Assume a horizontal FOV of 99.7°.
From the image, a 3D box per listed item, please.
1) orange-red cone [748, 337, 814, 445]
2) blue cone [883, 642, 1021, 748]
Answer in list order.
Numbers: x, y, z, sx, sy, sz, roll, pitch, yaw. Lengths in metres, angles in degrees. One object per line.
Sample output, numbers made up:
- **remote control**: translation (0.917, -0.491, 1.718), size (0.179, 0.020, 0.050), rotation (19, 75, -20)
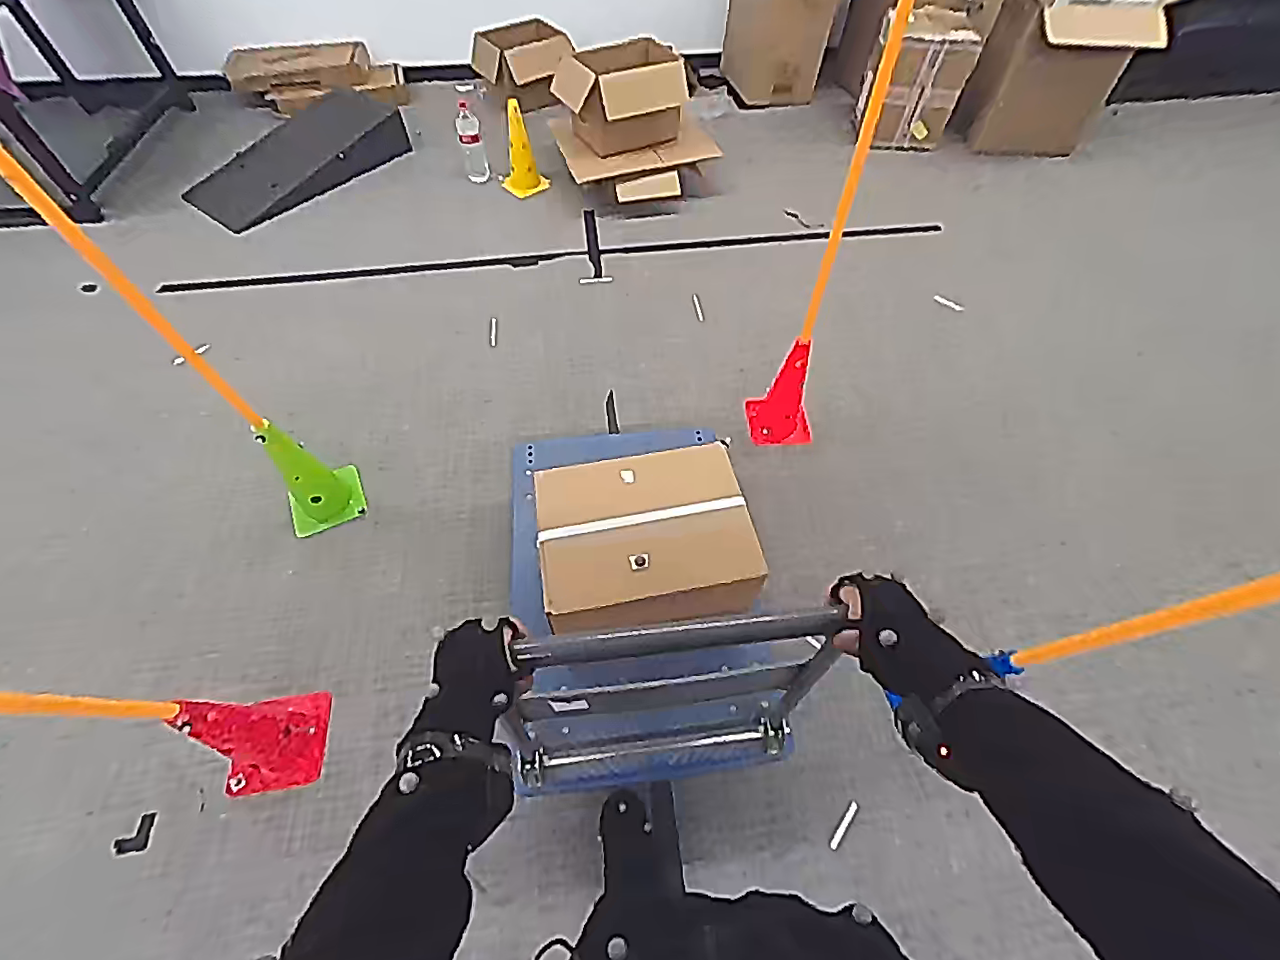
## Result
- **orange-red cone**: translation (0.469, -0.291, 1.660), size (0.199, 0.360, 0.198), rotation (0, 56, -2)
- **blue cone**: translation (0.713, 0.443, 1.180), size (0.193, 0.380, 0.192), rotation (-9, 55, -7)
